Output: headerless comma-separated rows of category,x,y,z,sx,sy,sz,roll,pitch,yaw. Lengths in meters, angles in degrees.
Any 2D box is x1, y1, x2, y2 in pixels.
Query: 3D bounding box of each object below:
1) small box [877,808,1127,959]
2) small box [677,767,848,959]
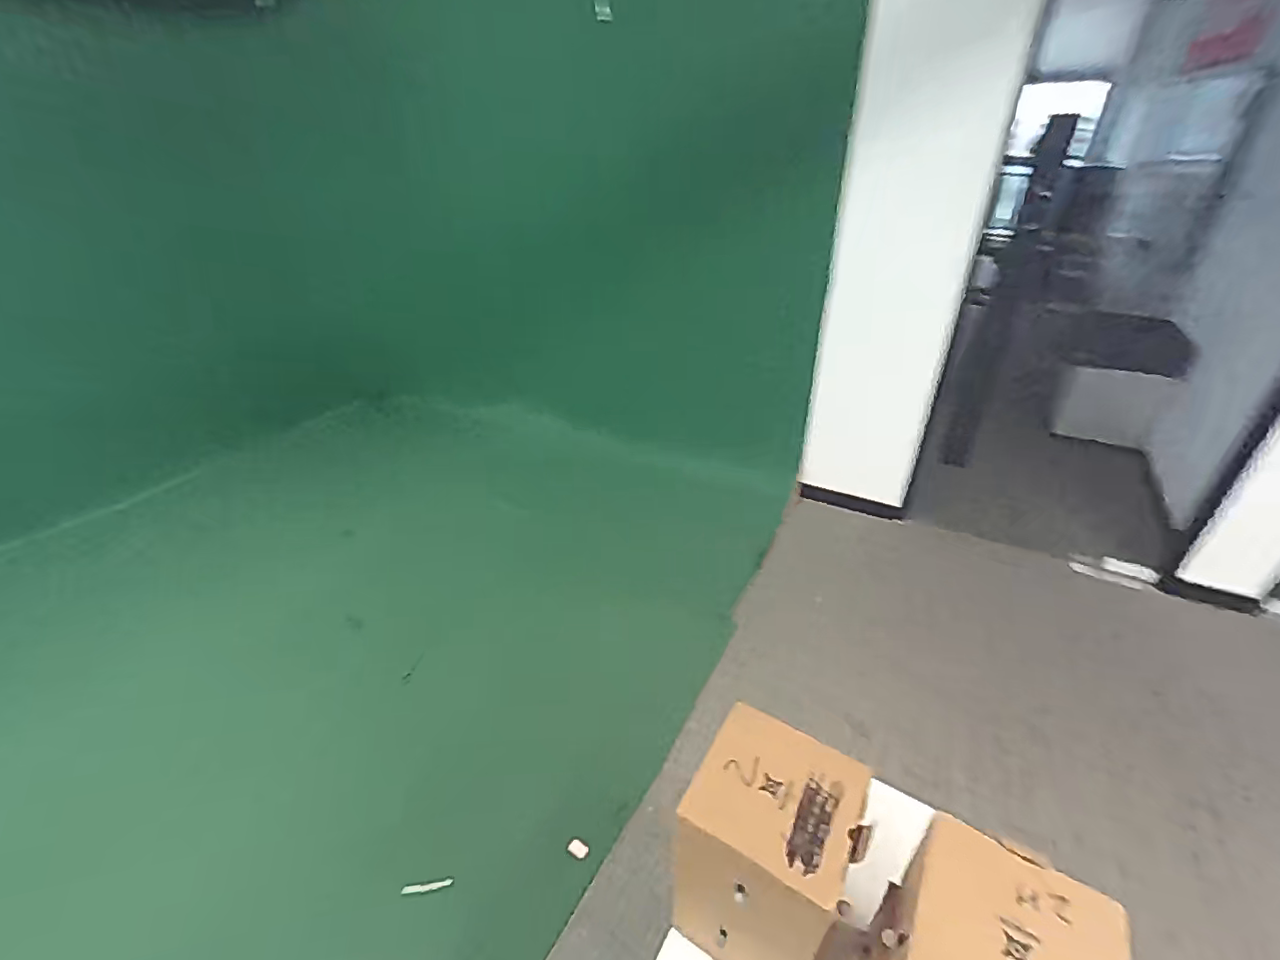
small box,0.343,0.487,0.535,0.168,0.176,0.179,20,38,28
small box,0.162,0.551,0.746,0.179,0.176,0.168,19,39,26
